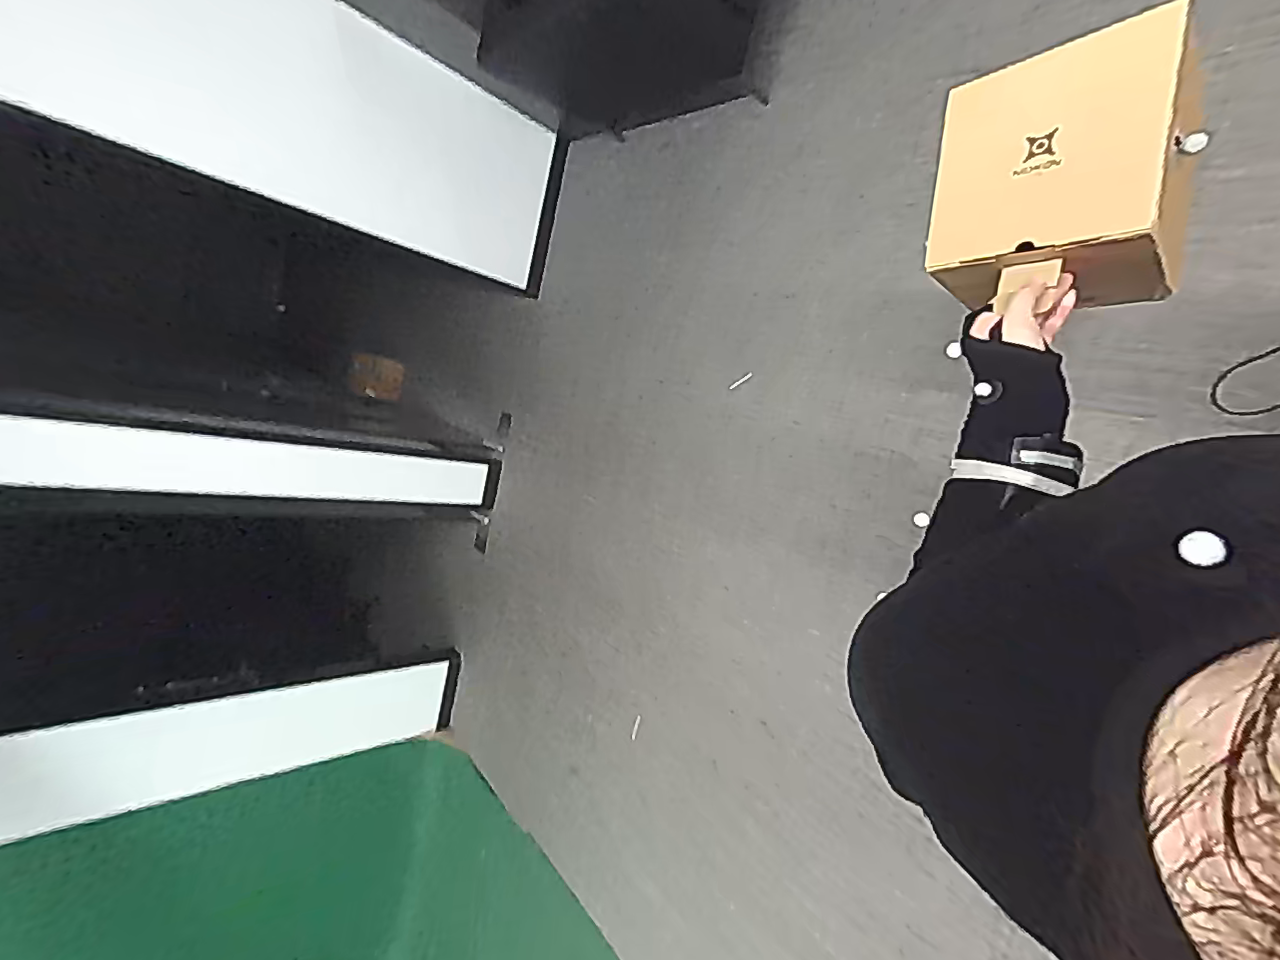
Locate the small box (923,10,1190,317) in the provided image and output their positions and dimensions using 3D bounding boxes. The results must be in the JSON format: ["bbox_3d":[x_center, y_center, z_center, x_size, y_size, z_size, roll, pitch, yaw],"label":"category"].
[{"bbox_3d":[0.400,-0.273,0.520,0.168,0.176,0.179,10,94,47],"label":"small box"}]
